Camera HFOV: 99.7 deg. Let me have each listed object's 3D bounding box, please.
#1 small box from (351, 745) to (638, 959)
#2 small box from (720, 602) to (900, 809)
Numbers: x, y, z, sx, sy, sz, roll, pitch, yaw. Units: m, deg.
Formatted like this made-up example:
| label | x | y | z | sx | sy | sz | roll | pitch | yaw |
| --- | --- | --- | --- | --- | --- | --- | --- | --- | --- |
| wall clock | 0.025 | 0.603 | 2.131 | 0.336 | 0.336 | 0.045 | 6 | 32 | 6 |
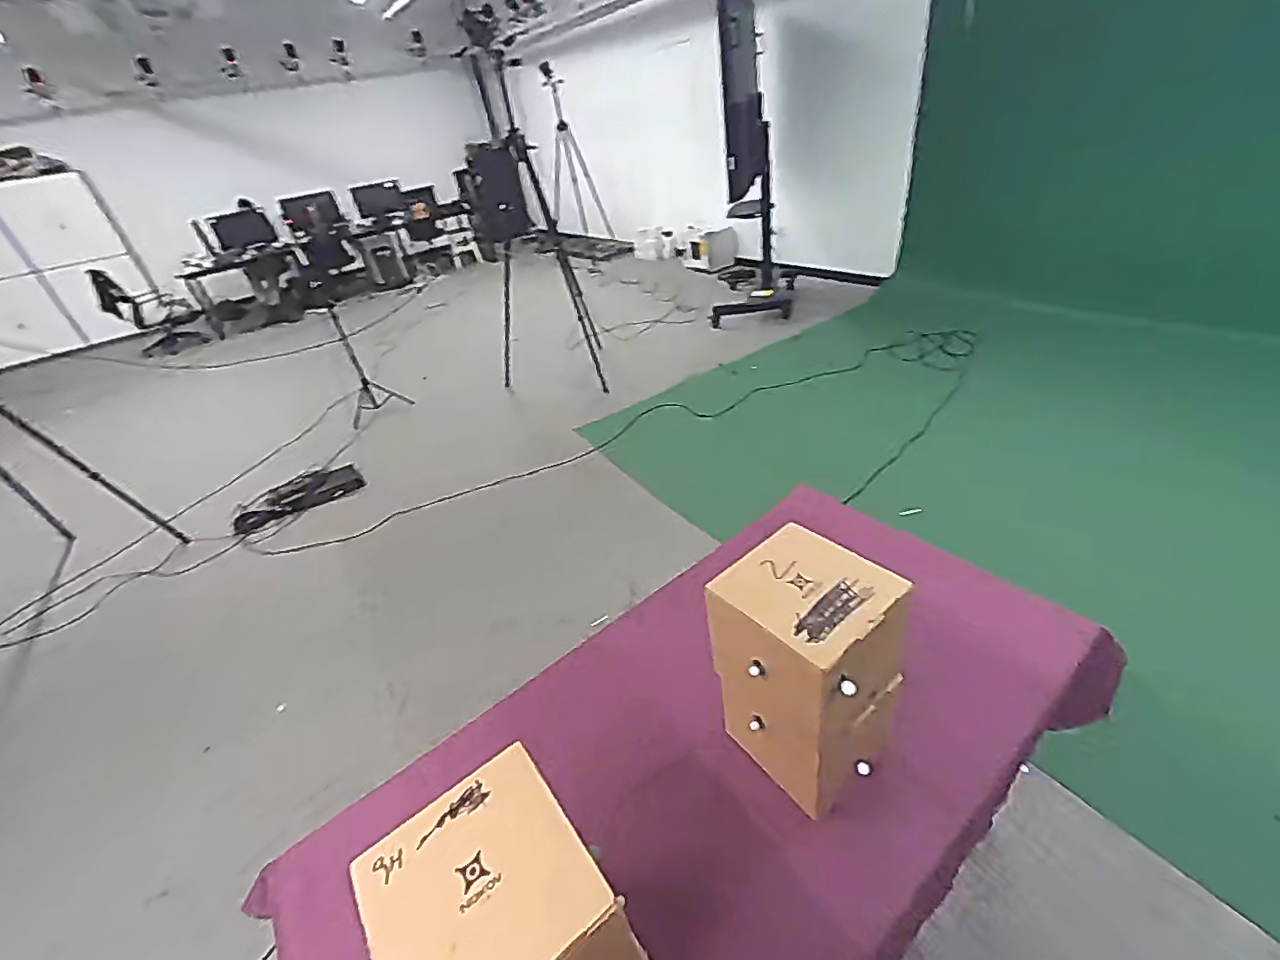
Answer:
| label | x | y | z | sx | sy | sz | roll | pitch | yaw |
| --- | --- | --- | --- | --- | --- | --- | --- | --- | --- |
| small box | -0.119 | 0.389 | 0.480 | 0.168 | 0.176 | 0.179 | -29 | 39 | -26 |
| small box | 0.236 | 0.318 | 0.773 | 0.168 | 0.176 | 0.179 | -29 | 39 | -24 |
